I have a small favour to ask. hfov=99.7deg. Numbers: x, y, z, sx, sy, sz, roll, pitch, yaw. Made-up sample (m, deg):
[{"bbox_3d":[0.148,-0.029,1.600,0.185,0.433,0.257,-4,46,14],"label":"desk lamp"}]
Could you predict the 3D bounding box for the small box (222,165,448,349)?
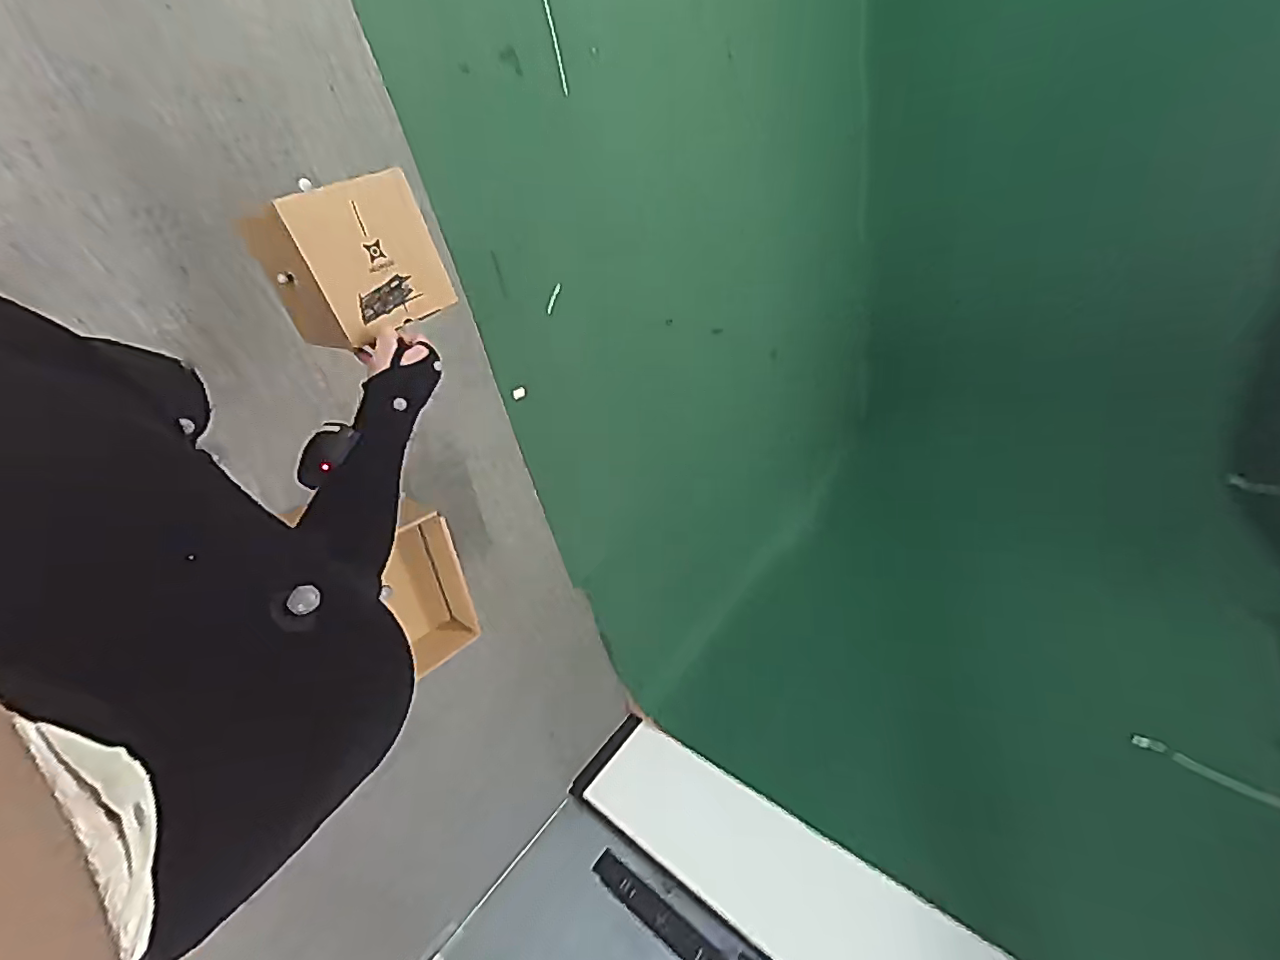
[{"bbox_3d":[-0.396,-0.290,0.711,0.168,0.176,0.179,-43,131,-35],"label":"small box"}]
